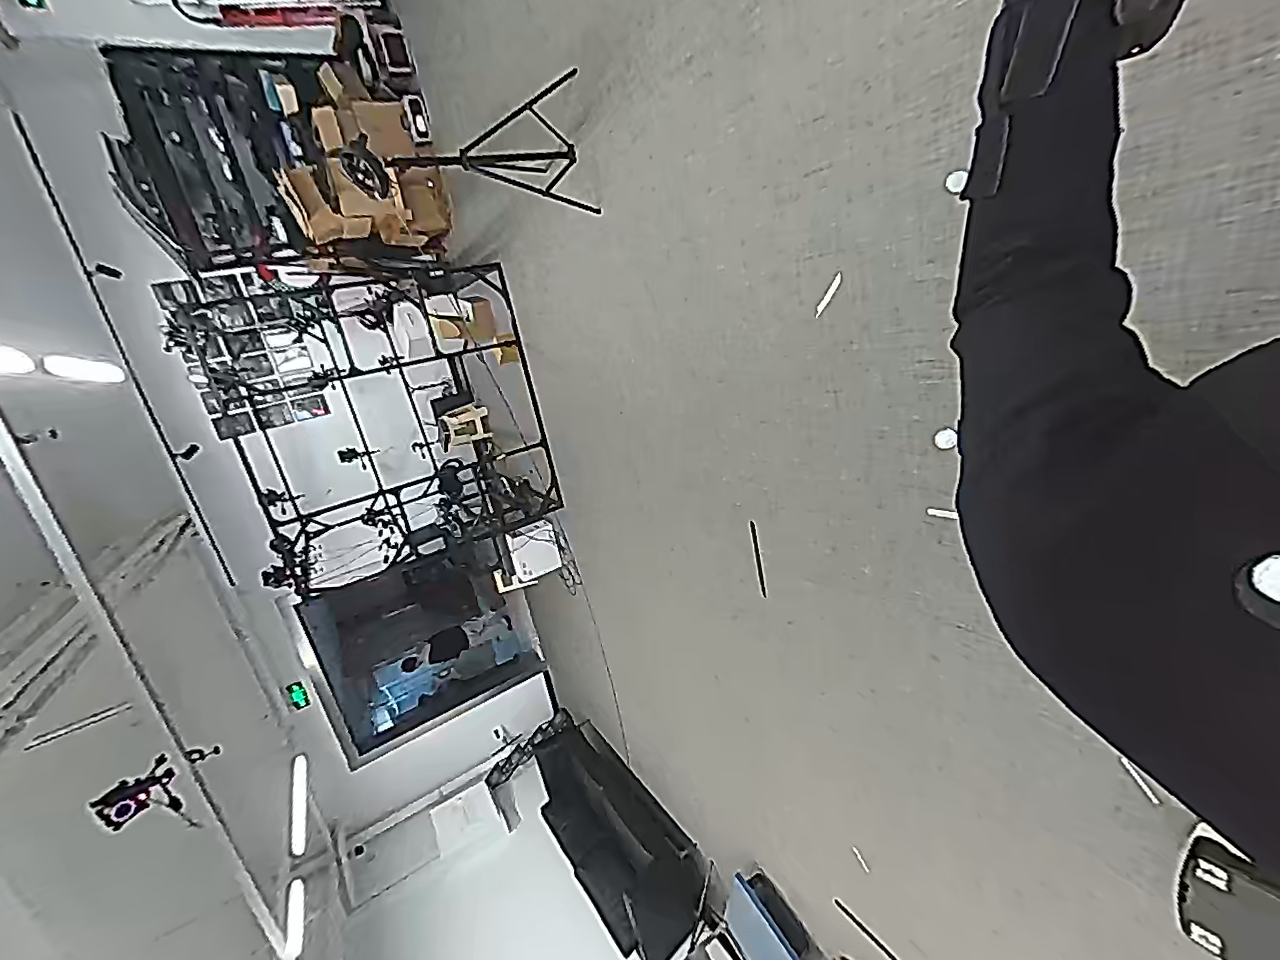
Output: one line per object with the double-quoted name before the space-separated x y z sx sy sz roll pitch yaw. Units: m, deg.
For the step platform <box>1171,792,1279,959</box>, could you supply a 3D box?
"step platform" 1.475 0.940 1.015 0.684 0.204 0.286 17 123 60
